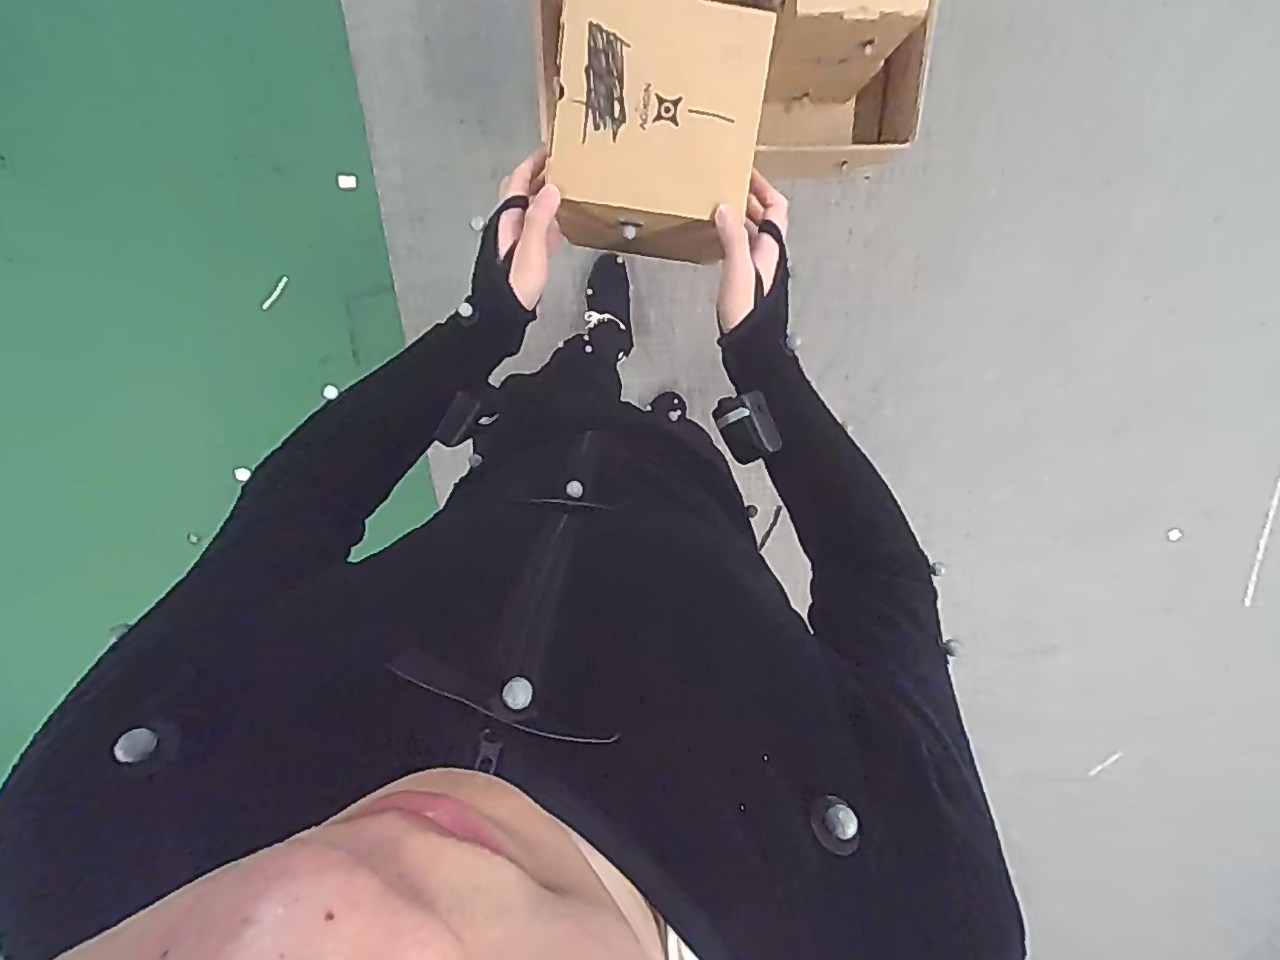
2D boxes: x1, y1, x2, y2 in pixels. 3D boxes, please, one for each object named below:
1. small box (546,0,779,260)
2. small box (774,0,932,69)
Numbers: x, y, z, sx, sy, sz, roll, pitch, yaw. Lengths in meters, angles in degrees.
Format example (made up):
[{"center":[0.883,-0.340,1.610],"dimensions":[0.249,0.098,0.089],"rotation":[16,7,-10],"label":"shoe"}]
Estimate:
[{"center":[0.016,-0.328,0.531],"dimensions":[0.179,0.176,0.168],"rotation":[8,100,-2],"label":"small box"},{"center":[0.280,-0.677,0.716],"dimensions":[0.168,0.176,0.179],"rotation":[1,108,0],"label":"small box"}]
